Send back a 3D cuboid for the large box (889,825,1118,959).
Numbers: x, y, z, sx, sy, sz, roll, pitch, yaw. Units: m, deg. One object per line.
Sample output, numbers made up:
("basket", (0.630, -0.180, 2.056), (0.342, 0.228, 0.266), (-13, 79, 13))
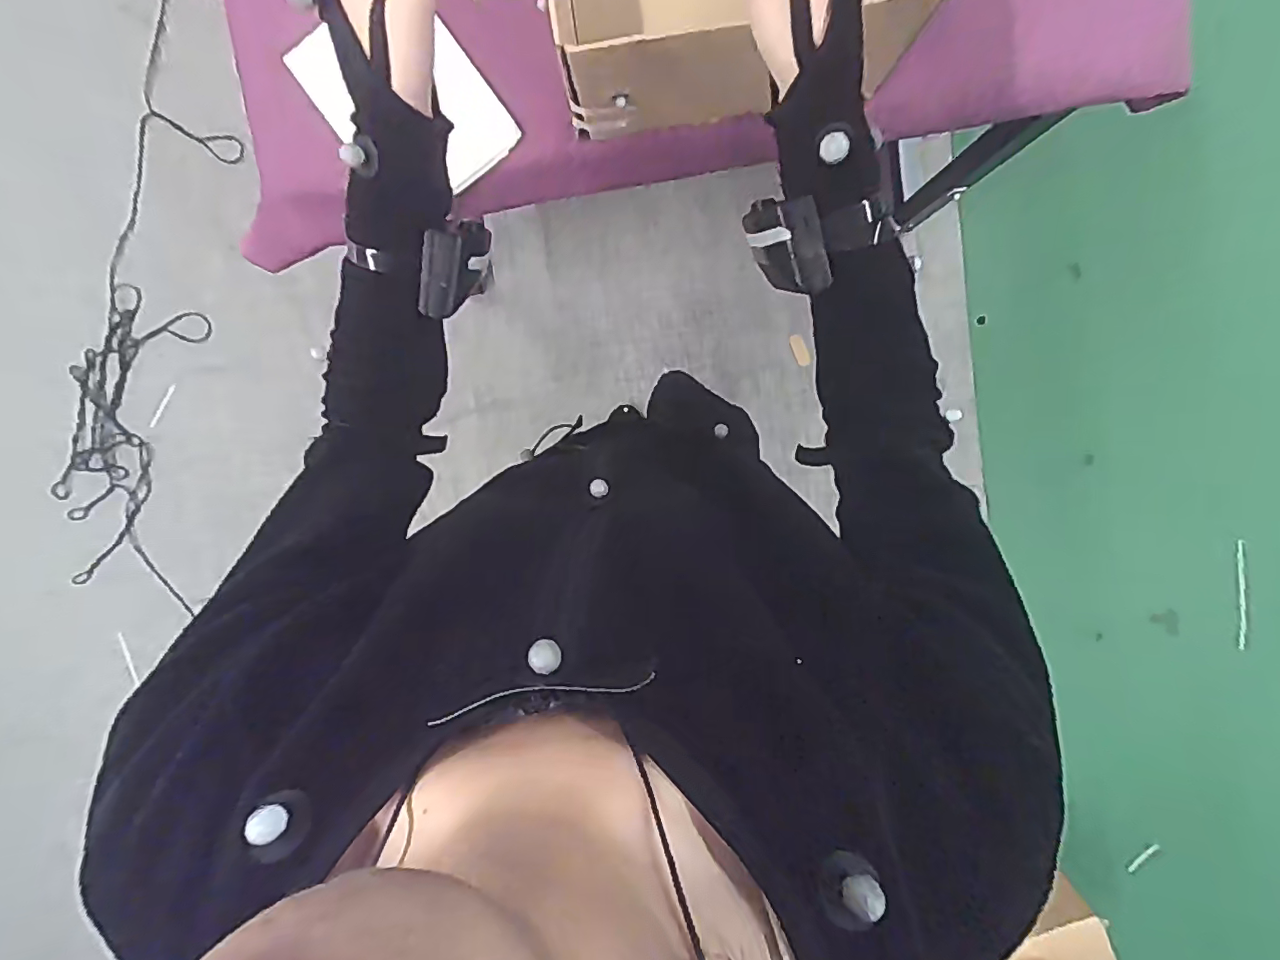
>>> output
("large box", (0.968, 1.229, 1.447), (0.408, 0.320, 0.320), (-23, 96, 3))
